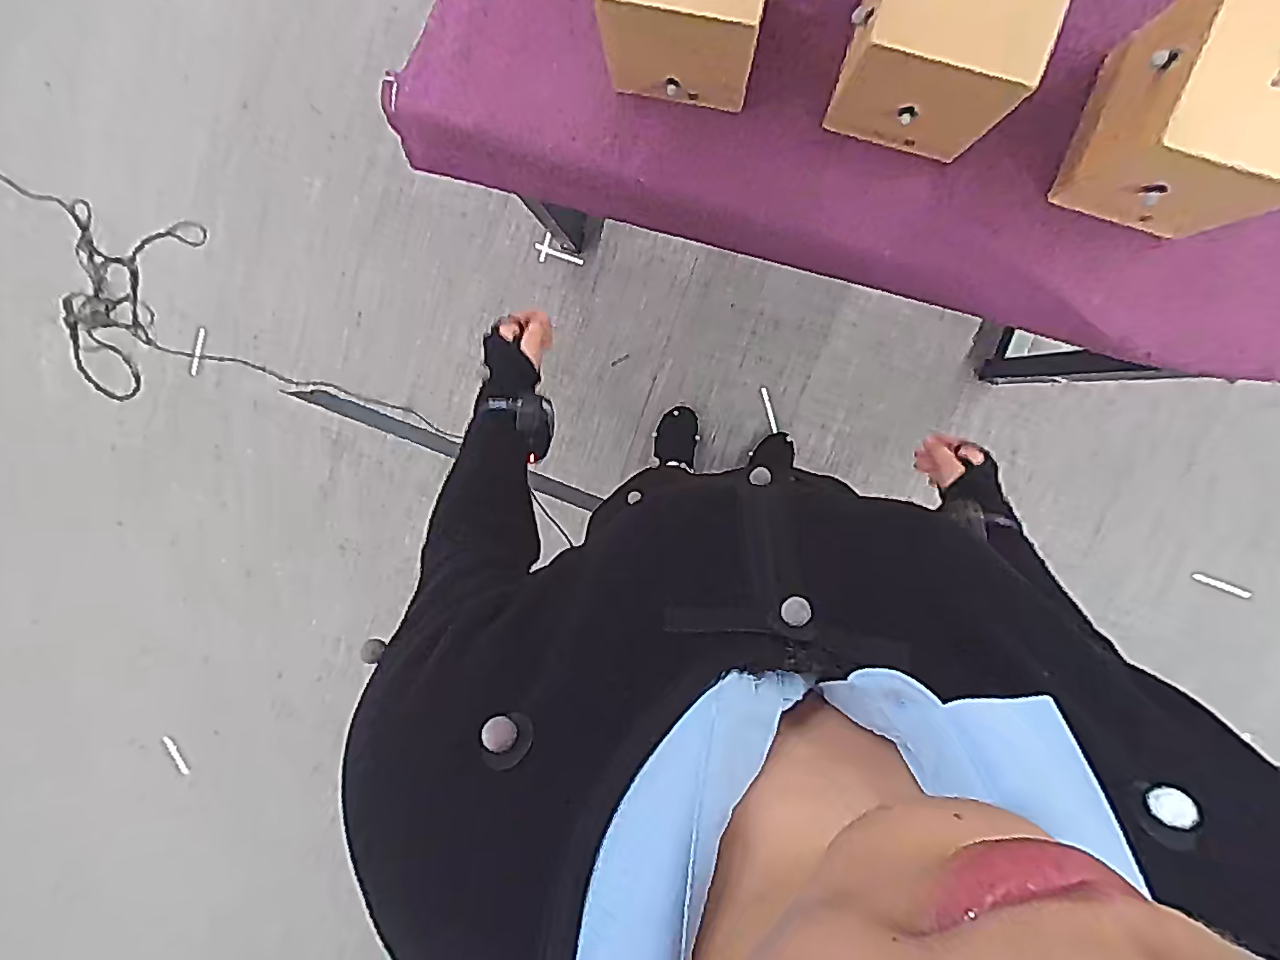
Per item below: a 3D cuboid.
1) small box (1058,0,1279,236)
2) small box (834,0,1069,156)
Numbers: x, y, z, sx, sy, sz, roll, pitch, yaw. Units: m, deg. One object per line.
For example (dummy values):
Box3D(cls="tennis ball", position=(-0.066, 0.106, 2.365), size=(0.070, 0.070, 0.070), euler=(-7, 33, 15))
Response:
Box3D(cls="small box", position=(0.602, -0.387, 0.577), size=(0.168, 0.176, 0.179), euler=(18, 100, 2))
Box3D(cls="small box", position=(0.328, -0.487, 0.581), size=(0.168, 0.176, 0.179), euler=(17, 98, 0))
